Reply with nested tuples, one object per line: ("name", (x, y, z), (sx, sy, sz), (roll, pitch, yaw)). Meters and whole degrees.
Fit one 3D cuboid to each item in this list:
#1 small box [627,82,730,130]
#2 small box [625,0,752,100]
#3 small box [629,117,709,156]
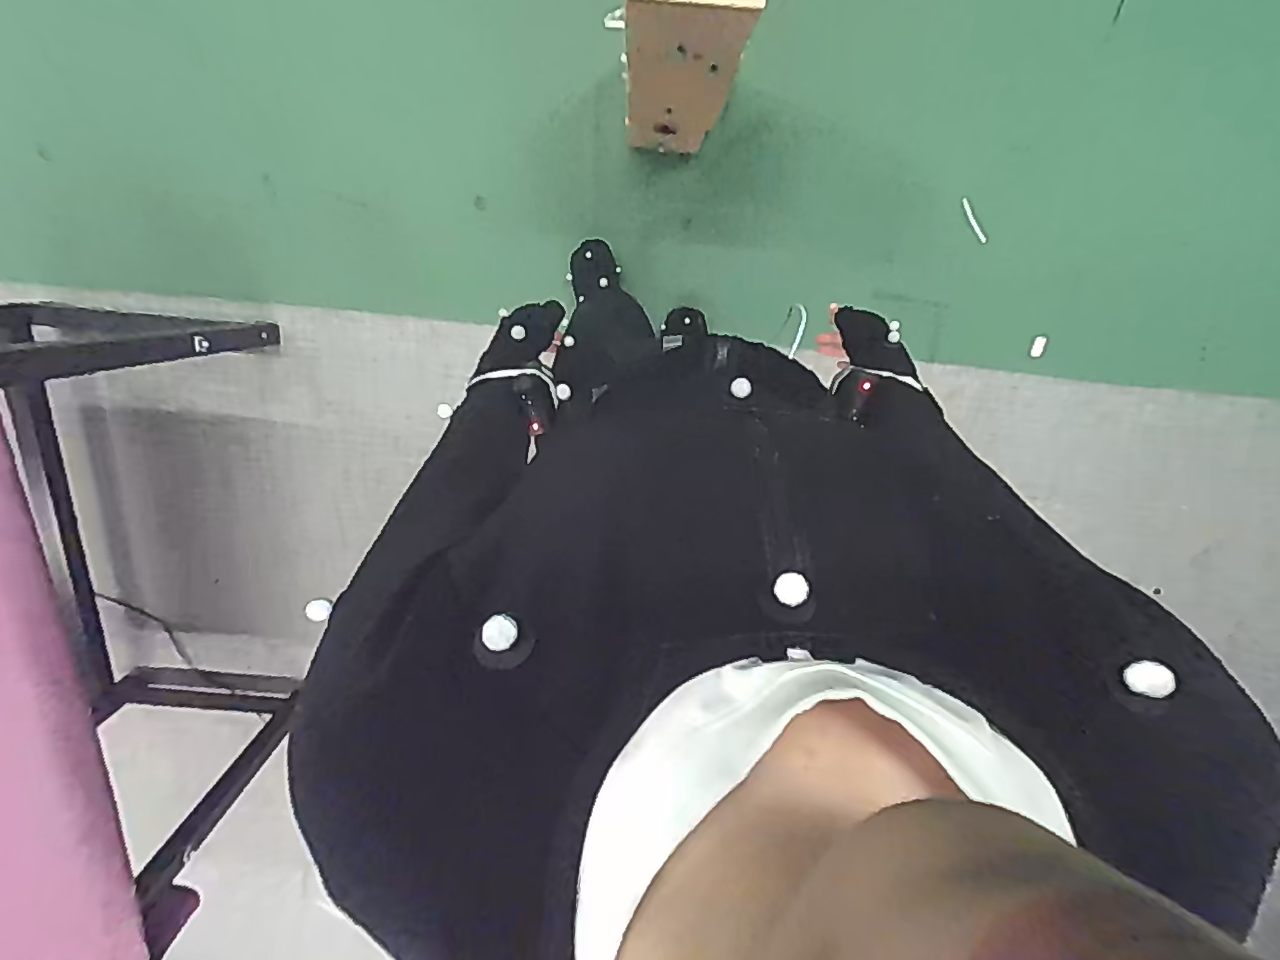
("small box", (0.073, -0.762, 0.984), (0.179, 0.176, 0.168), (7, 106, -4))
("small box", (0.071, -0.713, 0.831), (0.179, 0.176, 0.168), (4, 108, -3))
("small box", (0.065, -0.812, 1.142), (0.168, 0.176, 0.179), (5, 108, -2))
